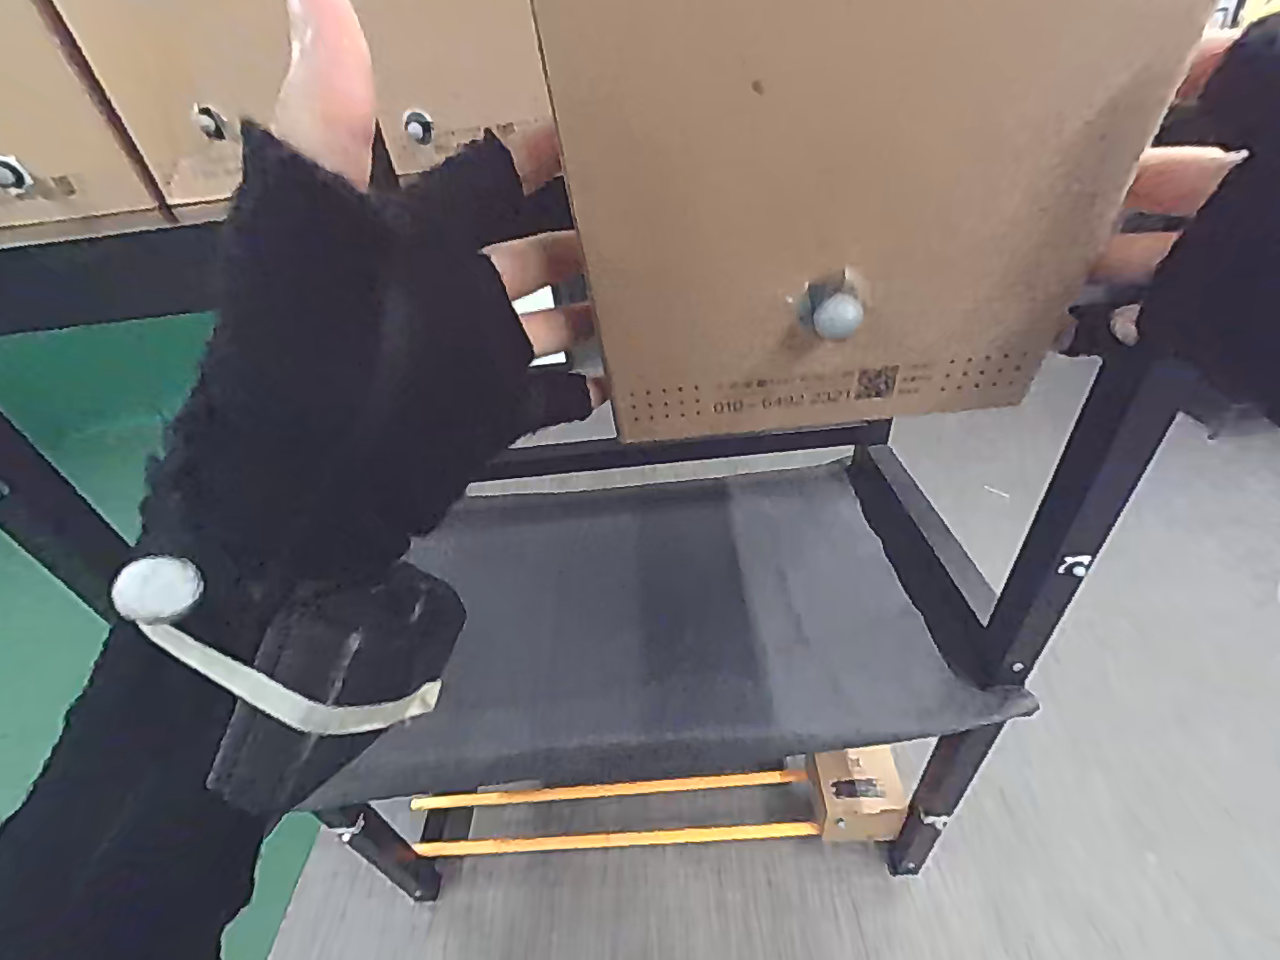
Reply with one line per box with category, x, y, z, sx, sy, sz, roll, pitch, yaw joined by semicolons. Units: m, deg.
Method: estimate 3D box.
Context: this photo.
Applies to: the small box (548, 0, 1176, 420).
small box;0.061;-0.147;0.232;0.168;0.176;0.179;-6;45;5
